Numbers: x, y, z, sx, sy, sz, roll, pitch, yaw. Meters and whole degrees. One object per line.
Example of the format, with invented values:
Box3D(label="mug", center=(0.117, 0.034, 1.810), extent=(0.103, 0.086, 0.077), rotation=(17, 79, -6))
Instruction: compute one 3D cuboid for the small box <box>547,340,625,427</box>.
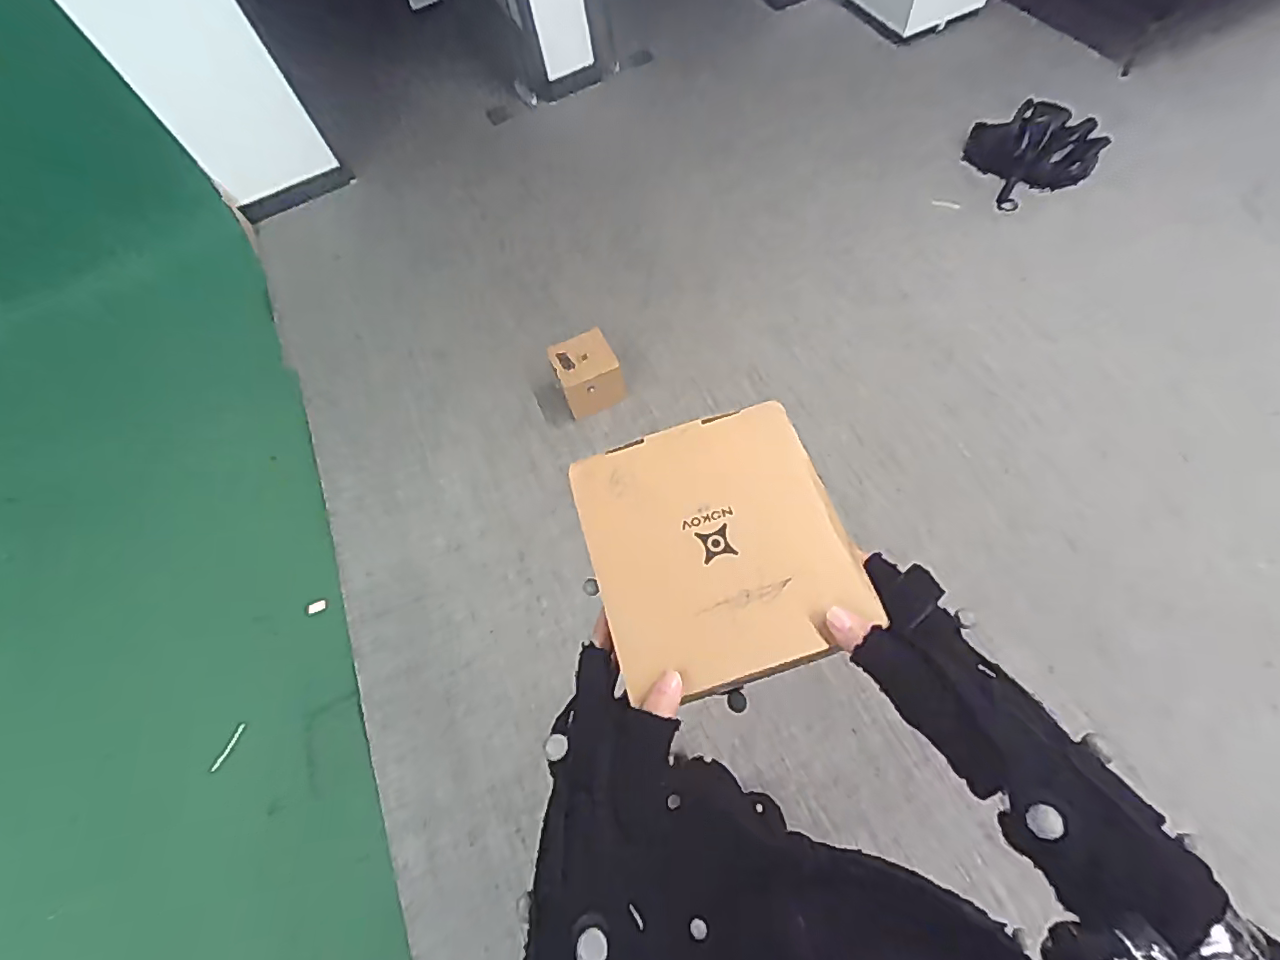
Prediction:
Box3D(label="small box", center=(-0.162, -0.291, 1.663), extent=(0.179, 0.176, 0.168), rotation=(-24, 64, -5))

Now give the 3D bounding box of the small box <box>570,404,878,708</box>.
Box3D(label="small box", center=(0.053, 0.072, 0.438), extent=(0.168, 0.176, 0.179), rotation=(-17, 65, -2))
